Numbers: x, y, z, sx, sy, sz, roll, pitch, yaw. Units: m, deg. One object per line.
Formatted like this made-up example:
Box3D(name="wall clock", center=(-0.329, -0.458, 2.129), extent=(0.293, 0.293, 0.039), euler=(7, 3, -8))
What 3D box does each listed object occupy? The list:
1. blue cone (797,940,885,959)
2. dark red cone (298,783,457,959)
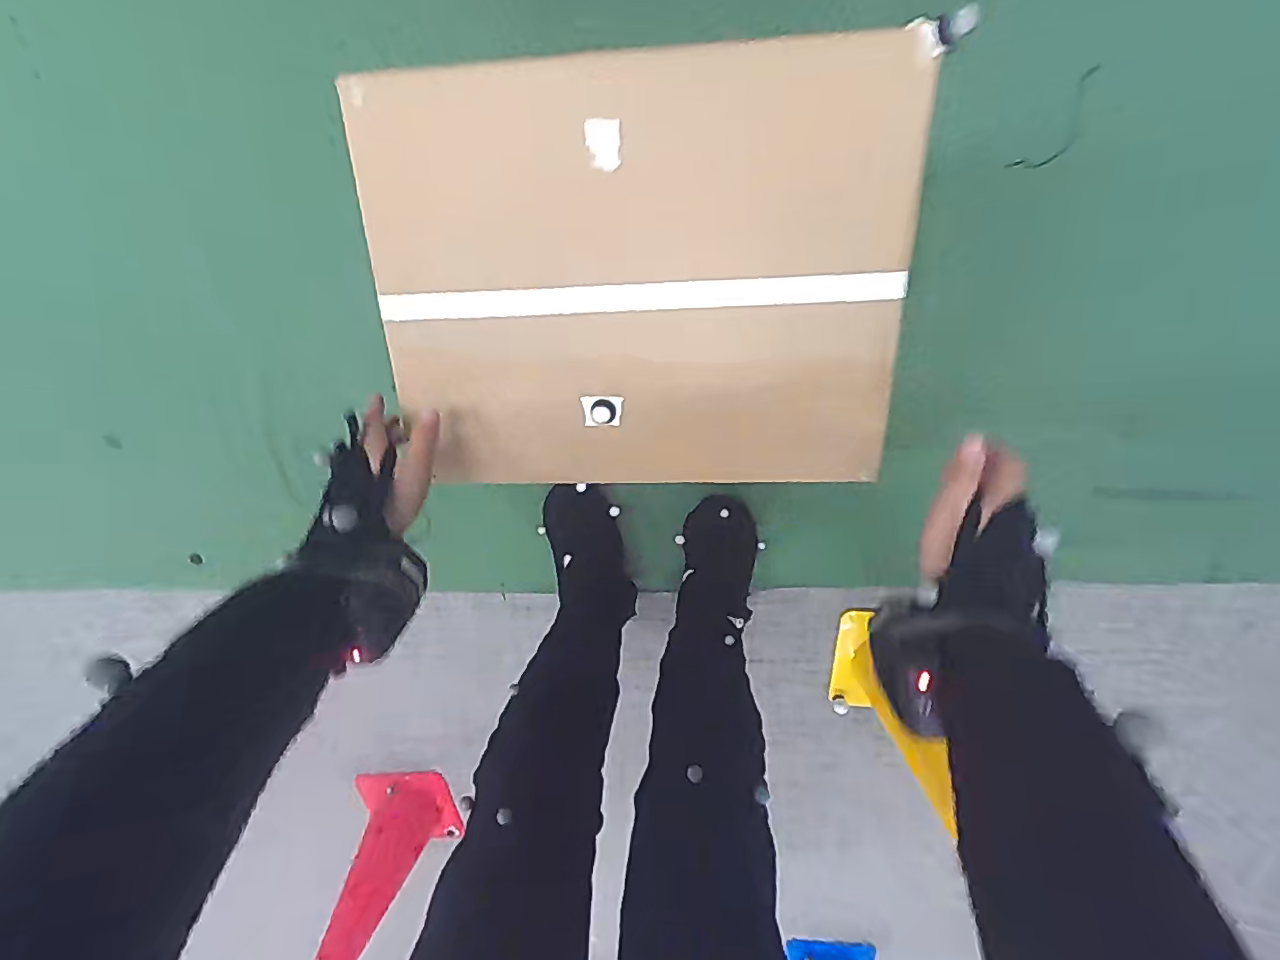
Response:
Box3D(name="blue cone", center=(0.440, 1.168, 1.079), extent=(0.192, 0.380, 0.193), euler=(-2, 113, 6))
Box3D(name="dark red cone", center=(-0.506, 0.755, 0.960), extent=(0.202, 0.394, 0.201), euler=(-9, 109, 10))
